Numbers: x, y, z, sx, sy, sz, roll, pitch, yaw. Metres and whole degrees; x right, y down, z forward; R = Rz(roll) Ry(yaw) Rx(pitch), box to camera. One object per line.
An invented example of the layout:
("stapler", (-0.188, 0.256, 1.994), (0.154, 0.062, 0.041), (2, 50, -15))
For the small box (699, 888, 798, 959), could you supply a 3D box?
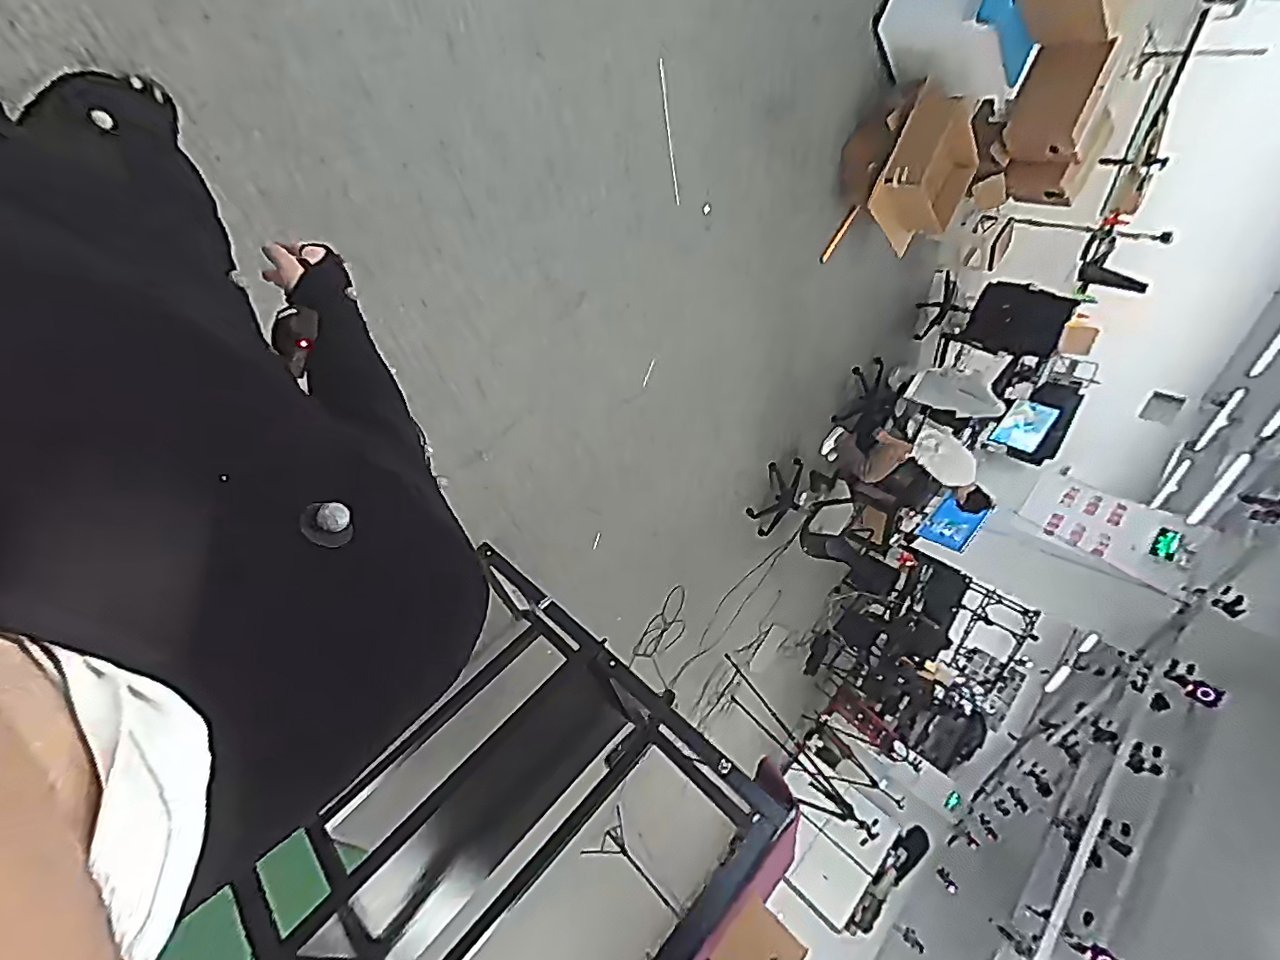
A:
("small box", (0.270, 1.162, 1.340), (0.179, 0.176, 0.168), (-41, 141, -22))
